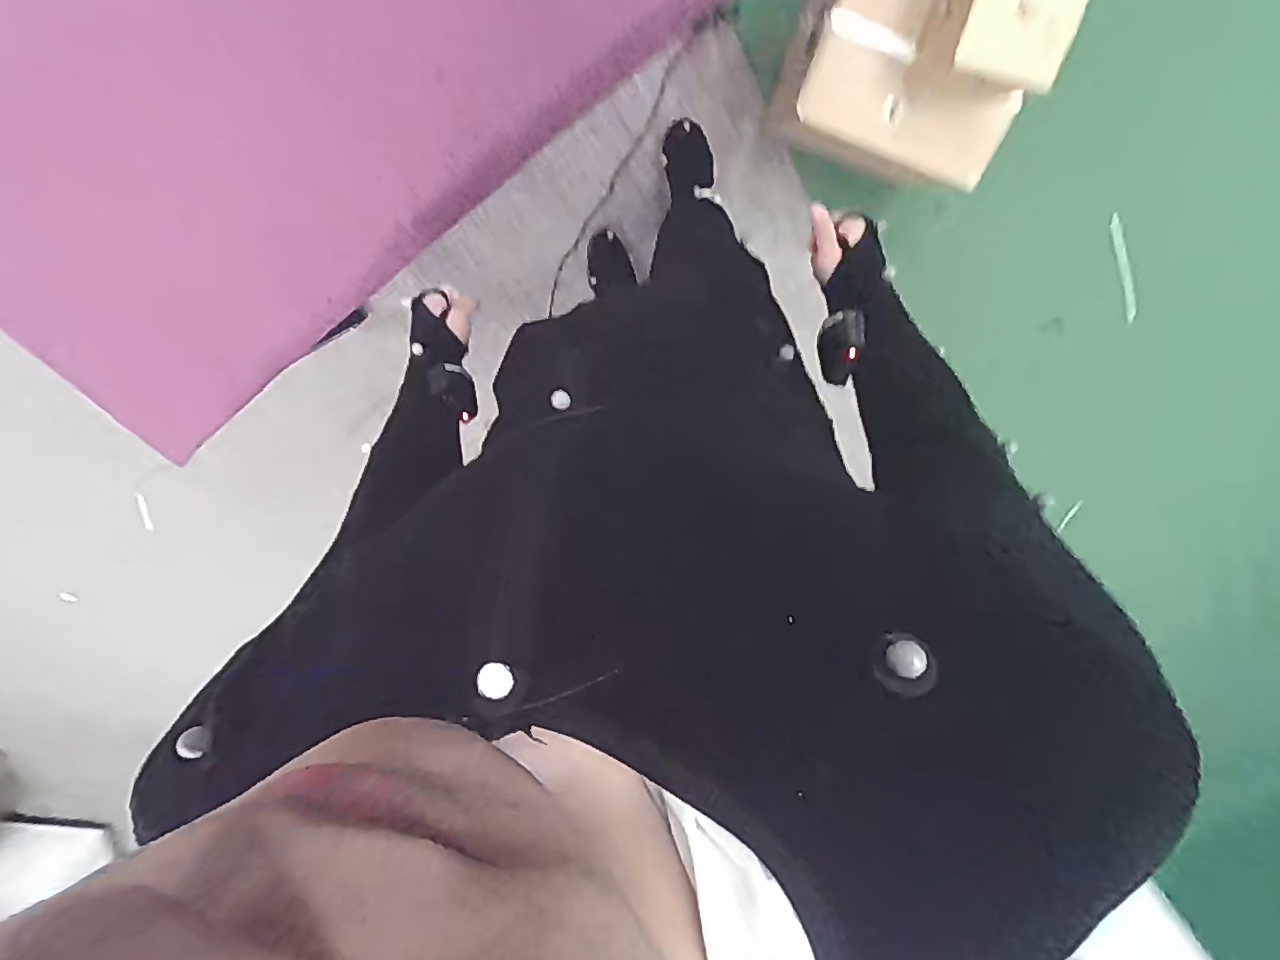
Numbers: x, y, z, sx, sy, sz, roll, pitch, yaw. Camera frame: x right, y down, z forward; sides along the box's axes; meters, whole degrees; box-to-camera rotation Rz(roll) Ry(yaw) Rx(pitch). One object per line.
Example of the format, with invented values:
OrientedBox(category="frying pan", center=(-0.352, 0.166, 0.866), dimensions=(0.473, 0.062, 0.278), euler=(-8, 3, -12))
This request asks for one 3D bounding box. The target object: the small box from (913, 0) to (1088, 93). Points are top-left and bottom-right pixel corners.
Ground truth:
OrientedBox(category="small box", center=(0.592, -0.765, 0.893), dimensions=(0.179, 0.176, 0.168), euler=(9, 118, -7))
